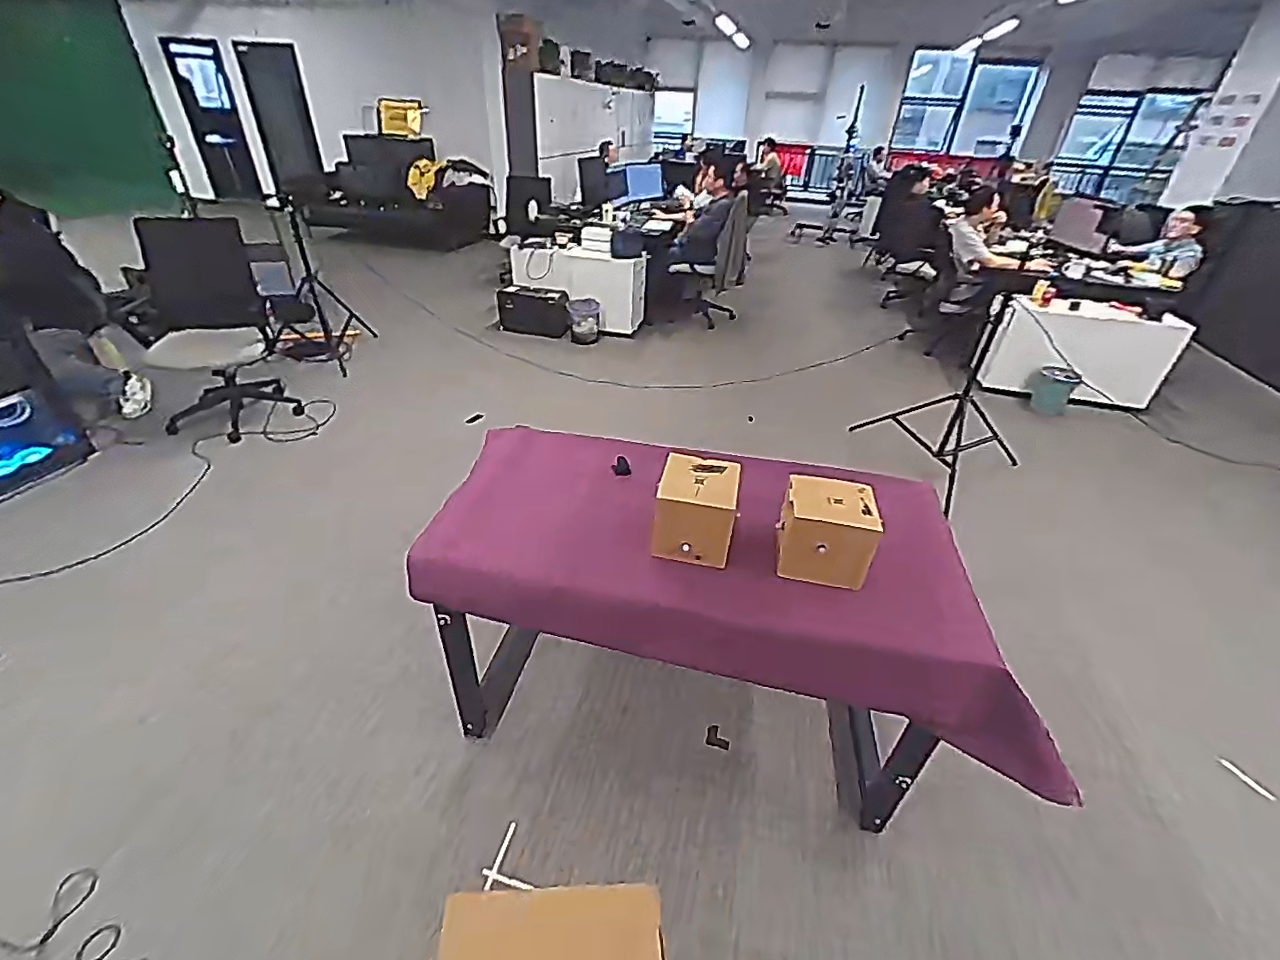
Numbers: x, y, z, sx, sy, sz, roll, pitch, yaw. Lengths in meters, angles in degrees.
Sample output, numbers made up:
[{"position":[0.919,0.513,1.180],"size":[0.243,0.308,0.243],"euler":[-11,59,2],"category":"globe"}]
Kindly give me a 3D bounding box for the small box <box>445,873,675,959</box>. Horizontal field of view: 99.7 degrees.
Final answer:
[{"position":[-0.065,0.446,0.432],"size":[0.179,0.176,0.168],"euler":[1,34,-8],"category":"small box"}]

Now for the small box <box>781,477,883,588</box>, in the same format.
[{"position":[0.407,0.115,1.179],"size":[0.179,0.176,0.168],"euler":[8,34,9],"category":"small box"}]

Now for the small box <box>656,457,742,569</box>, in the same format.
[{"position":[0.132,0.073,1.219],"size":[0.168,0.176,0.179],"euler":[9,35,9],"category":"small box"}]
